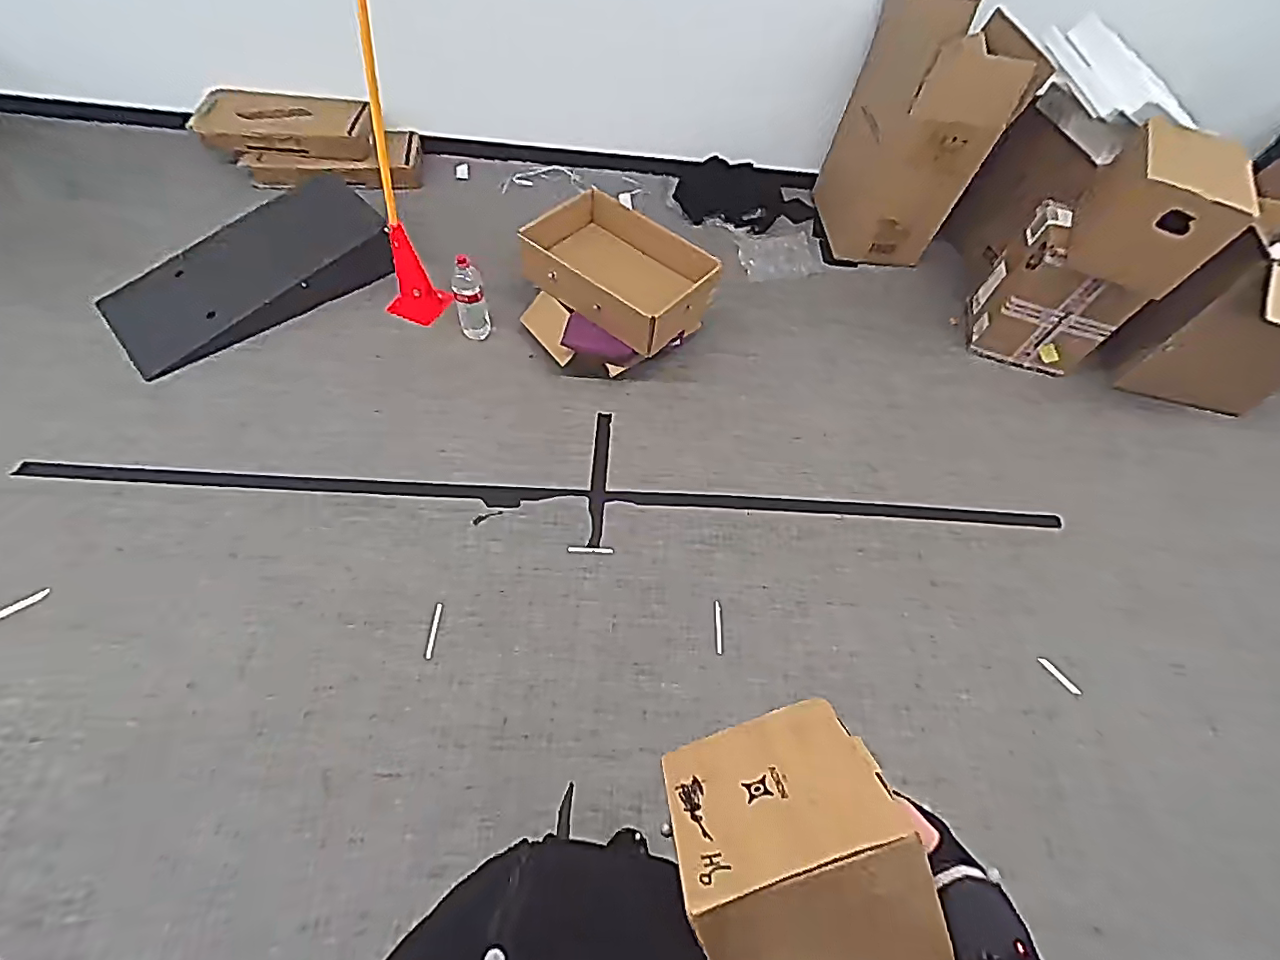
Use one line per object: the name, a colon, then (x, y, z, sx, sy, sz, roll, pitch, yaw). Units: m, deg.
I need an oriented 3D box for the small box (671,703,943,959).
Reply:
small box: (0.143, 0.346, 0.489, 0.179, 0.168, 0.176, -20, 101, -1)
